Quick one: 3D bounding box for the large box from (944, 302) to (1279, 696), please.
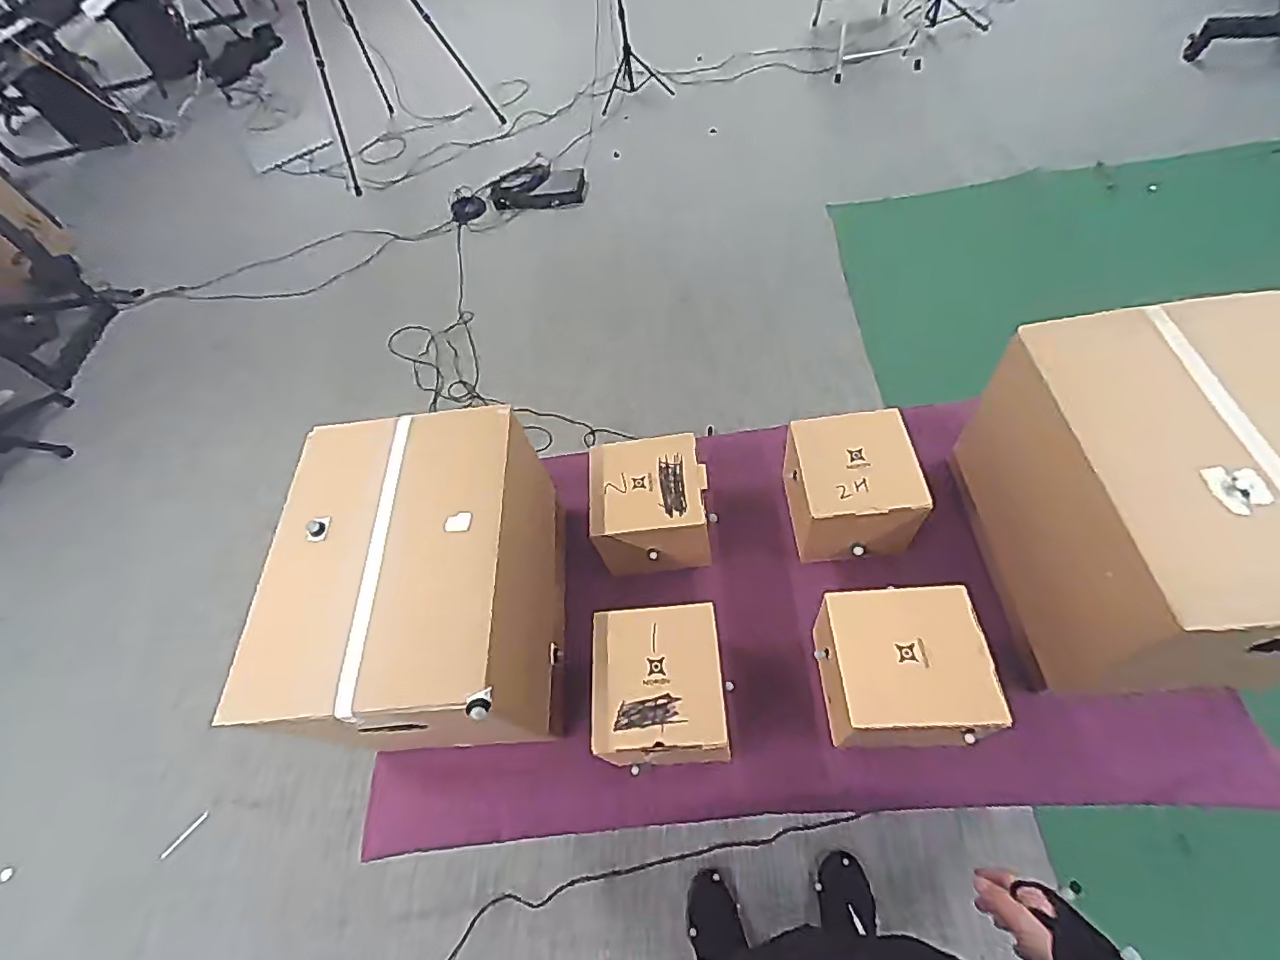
[{"bbox_3d":[0.664,0.039,0.706,0.320,0.320,0.408,-6,58,8],"label":"large box"}]
